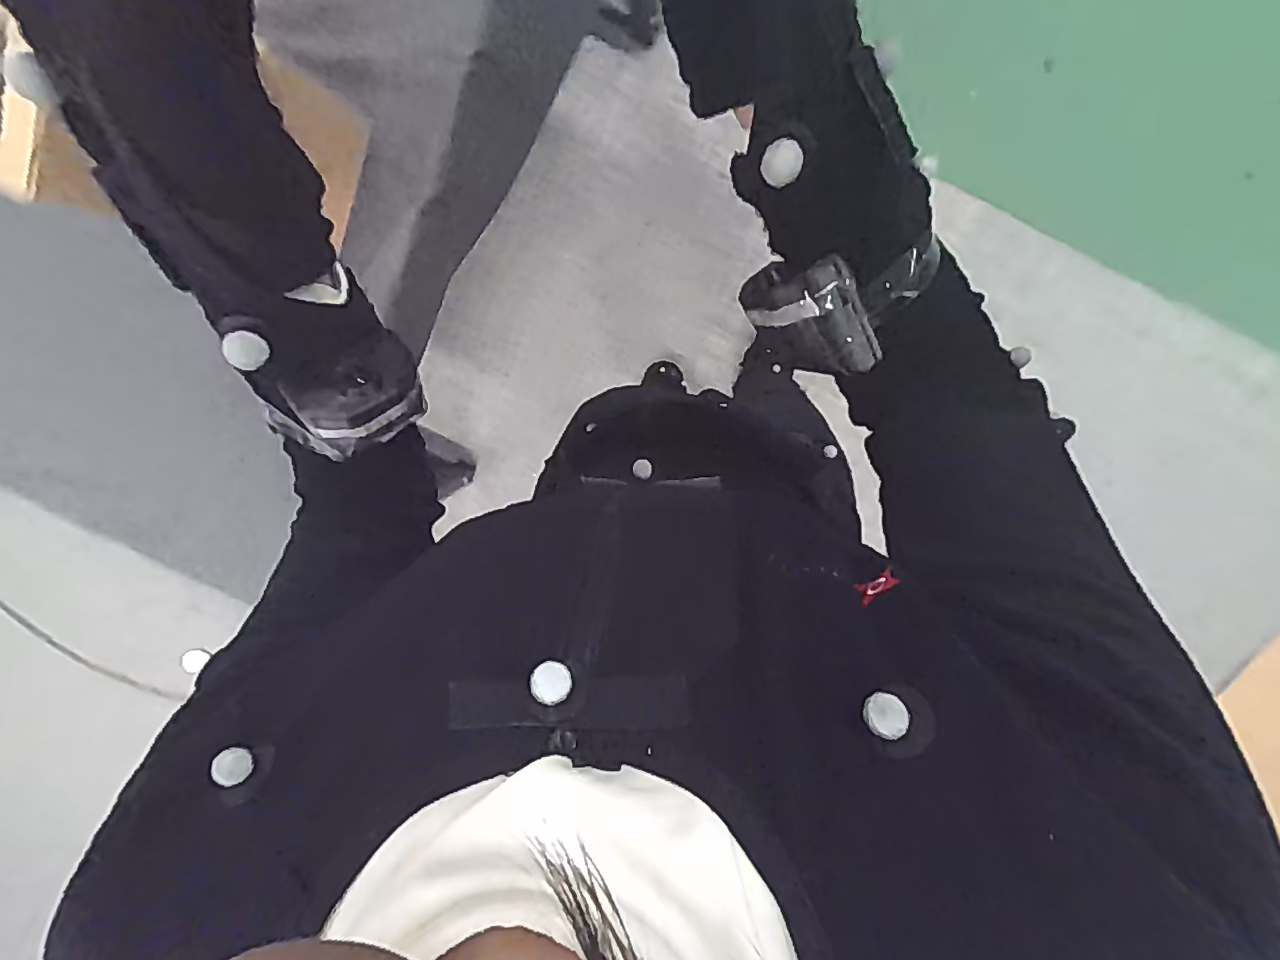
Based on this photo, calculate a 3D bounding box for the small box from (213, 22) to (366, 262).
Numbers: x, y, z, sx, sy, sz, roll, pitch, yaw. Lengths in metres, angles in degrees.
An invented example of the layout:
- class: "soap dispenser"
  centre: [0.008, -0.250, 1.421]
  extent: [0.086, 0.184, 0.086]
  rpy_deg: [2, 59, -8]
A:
- class: "small box"
  centre: [-0.423, -0.352, 0.572]
  extent: [0.168, 0.176, 0.179]
  rpy_deg: [20, 103, 3]

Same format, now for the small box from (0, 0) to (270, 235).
- class: "small box"
  centre: [-0.431, -0.307, 0.411]
  extent: [0.179, 0.176, 0.168]
  rpy_deg: [24, 104, 1]
